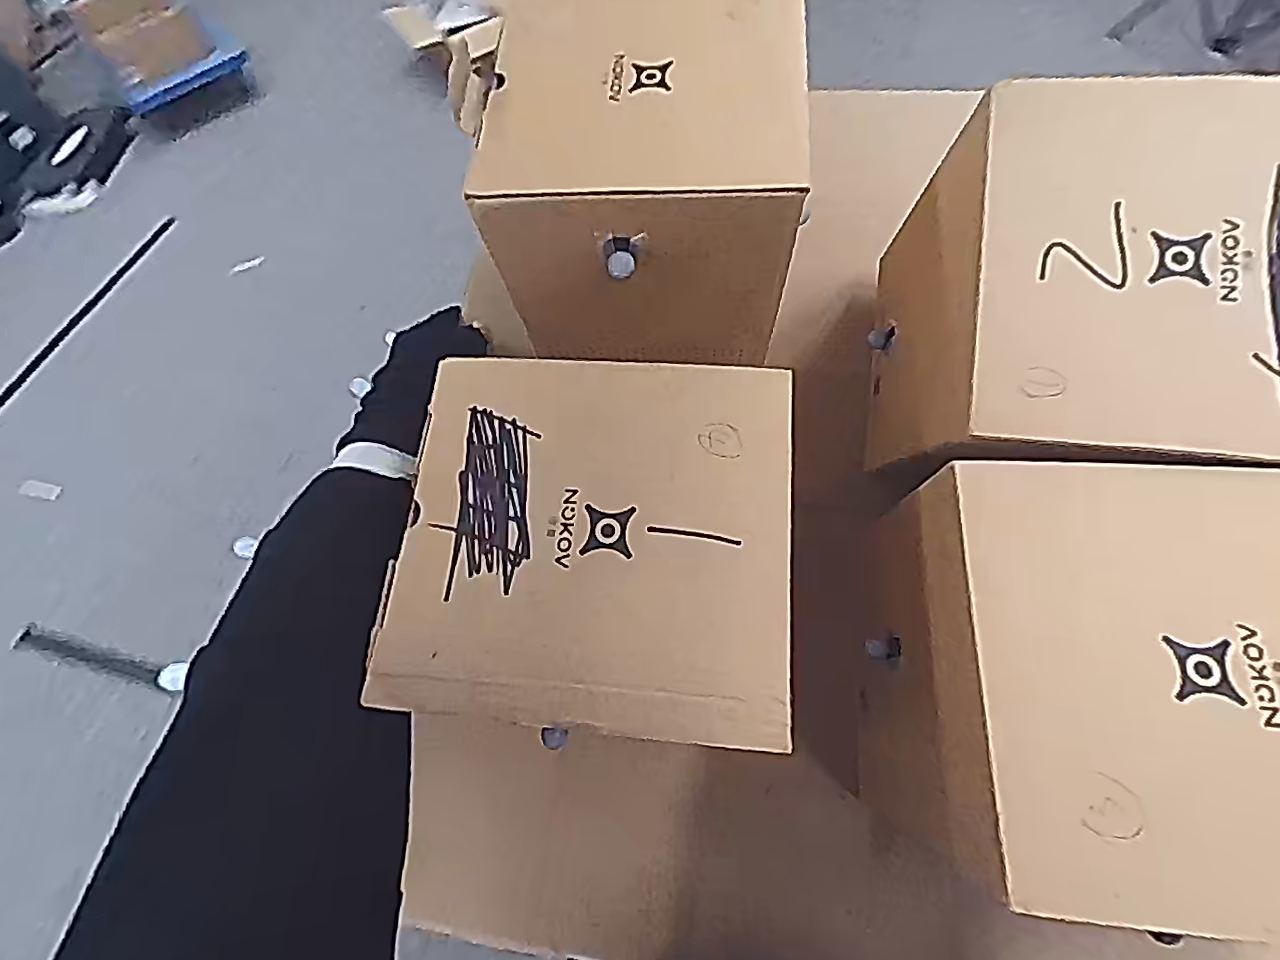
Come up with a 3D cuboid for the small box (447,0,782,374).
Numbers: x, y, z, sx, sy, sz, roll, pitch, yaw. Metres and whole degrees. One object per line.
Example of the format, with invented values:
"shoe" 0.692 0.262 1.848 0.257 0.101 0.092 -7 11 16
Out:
"small box" -0.004 -0.186 0.375 0.179 0.176 0.168 1 71 7
